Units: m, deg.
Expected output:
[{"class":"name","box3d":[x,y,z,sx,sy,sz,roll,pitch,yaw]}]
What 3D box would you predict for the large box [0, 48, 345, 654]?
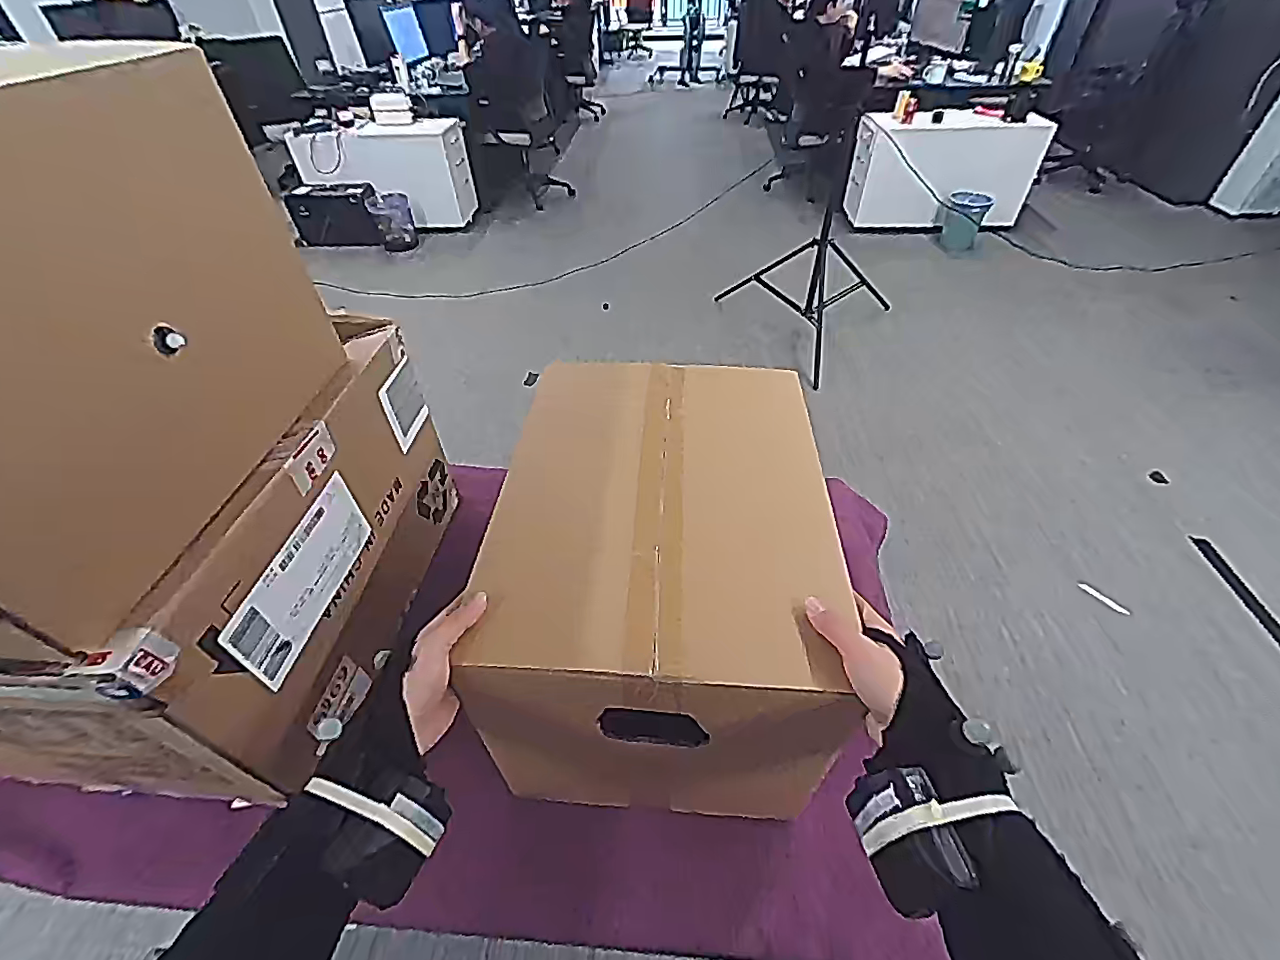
[{"class":"large box","box3d":[-0.522,-0.121,0.436,0.320,0.320,0.408,0,45,5]}]
